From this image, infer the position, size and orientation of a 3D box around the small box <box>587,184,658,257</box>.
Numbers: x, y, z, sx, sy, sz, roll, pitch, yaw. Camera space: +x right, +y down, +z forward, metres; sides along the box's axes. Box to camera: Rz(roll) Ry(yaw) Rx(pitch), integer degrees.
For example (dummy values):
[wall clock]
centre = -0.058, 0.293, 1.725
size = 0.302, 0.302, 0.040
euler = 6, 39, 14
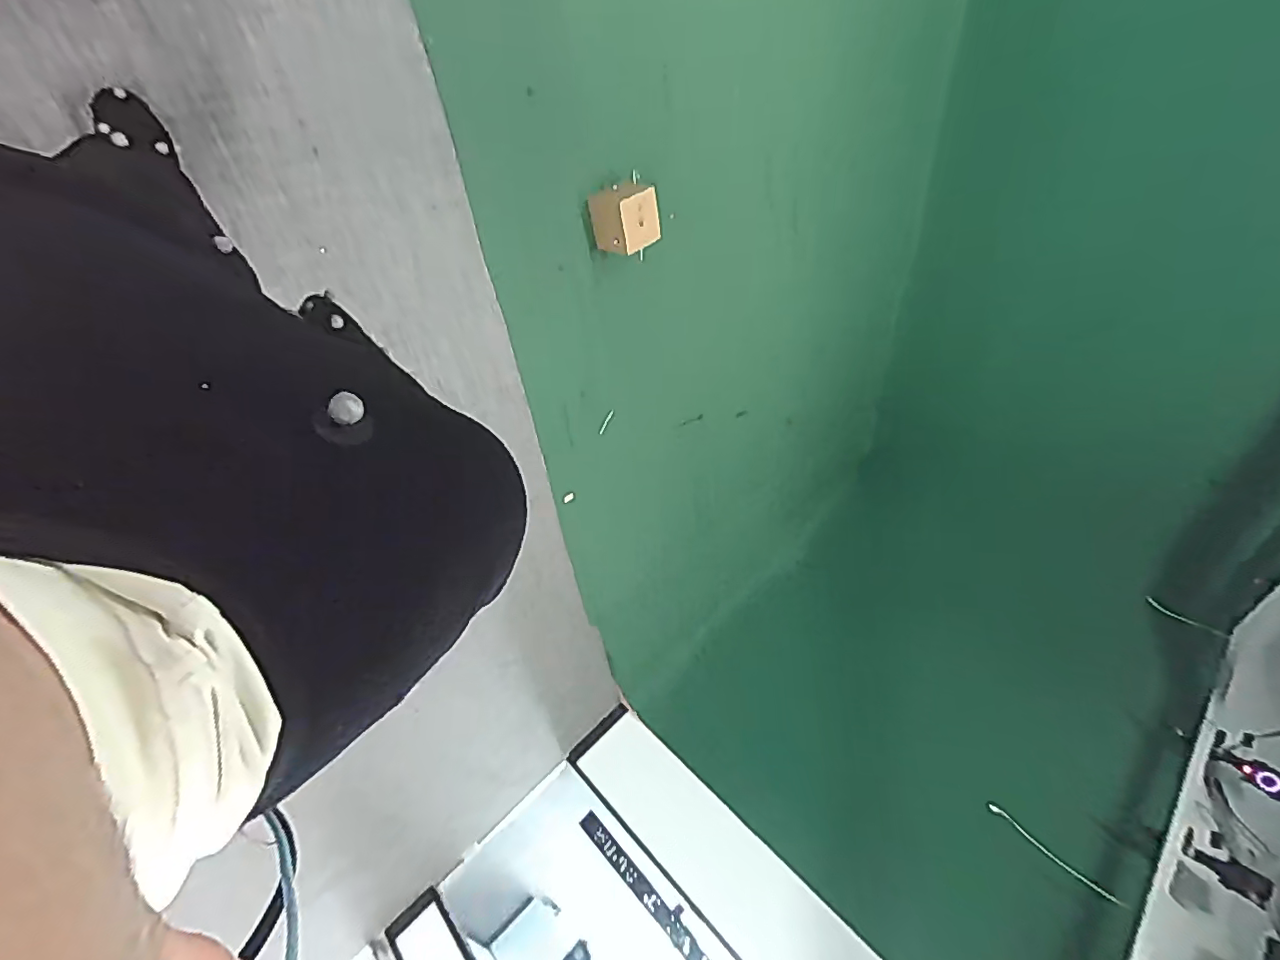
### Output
[small box]
centre = -0.061, -0.905, 1.878
size = 0.168, 0.176, 0.179
euler = -38, 139, -26
